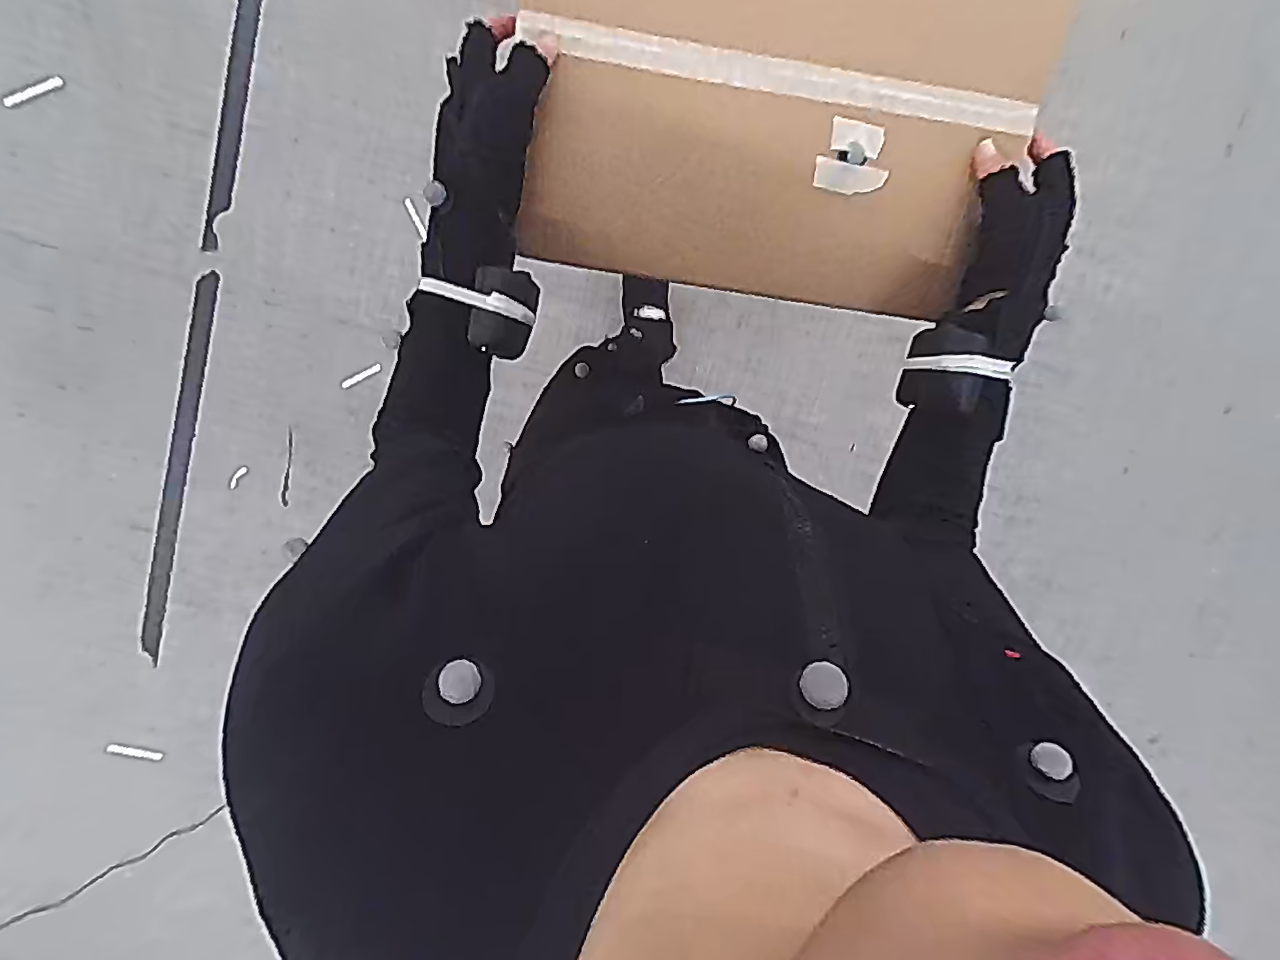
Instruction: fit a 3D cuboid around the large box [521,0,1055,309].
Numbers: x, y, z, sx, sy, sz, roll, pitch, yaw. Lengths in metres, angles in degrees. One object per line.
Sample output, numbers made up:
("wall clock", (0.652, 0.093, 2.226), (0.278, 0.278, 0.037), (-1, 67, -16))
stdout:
("large box", (0.105, -0.380, 0.566), (0.408, 0.320, 0.320), (7, 115, -5))
